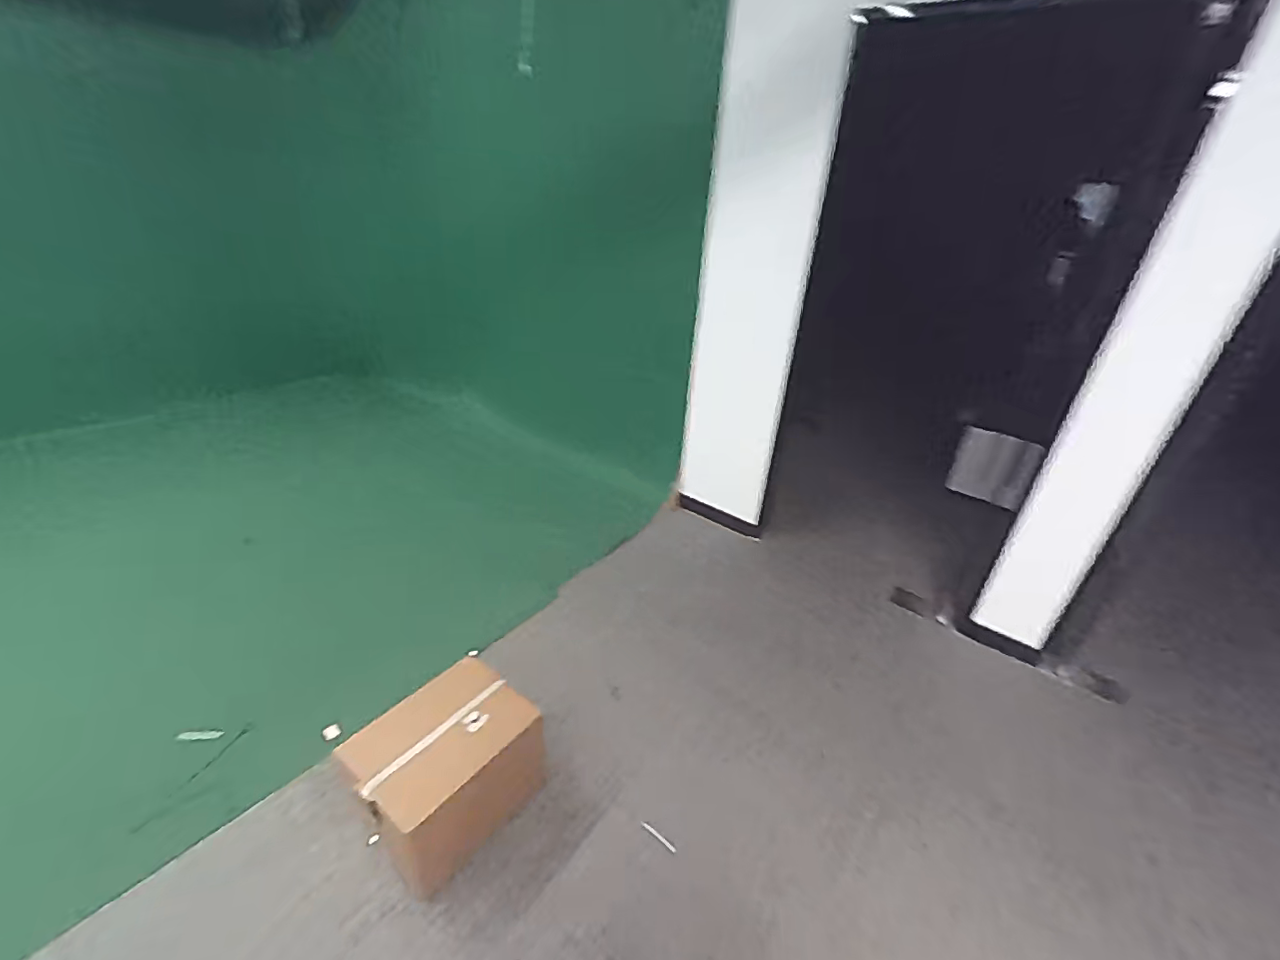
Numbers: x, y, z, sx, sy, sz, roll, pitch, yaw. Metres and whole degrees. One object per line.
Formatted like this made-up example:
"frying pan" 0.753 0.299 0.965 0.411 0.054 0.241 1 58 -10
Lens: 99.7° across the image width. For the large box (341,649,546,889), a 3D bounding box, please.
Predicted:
"large box" -0.503 0.748 1.449 0.320 0.320 0.408 24 35 30
